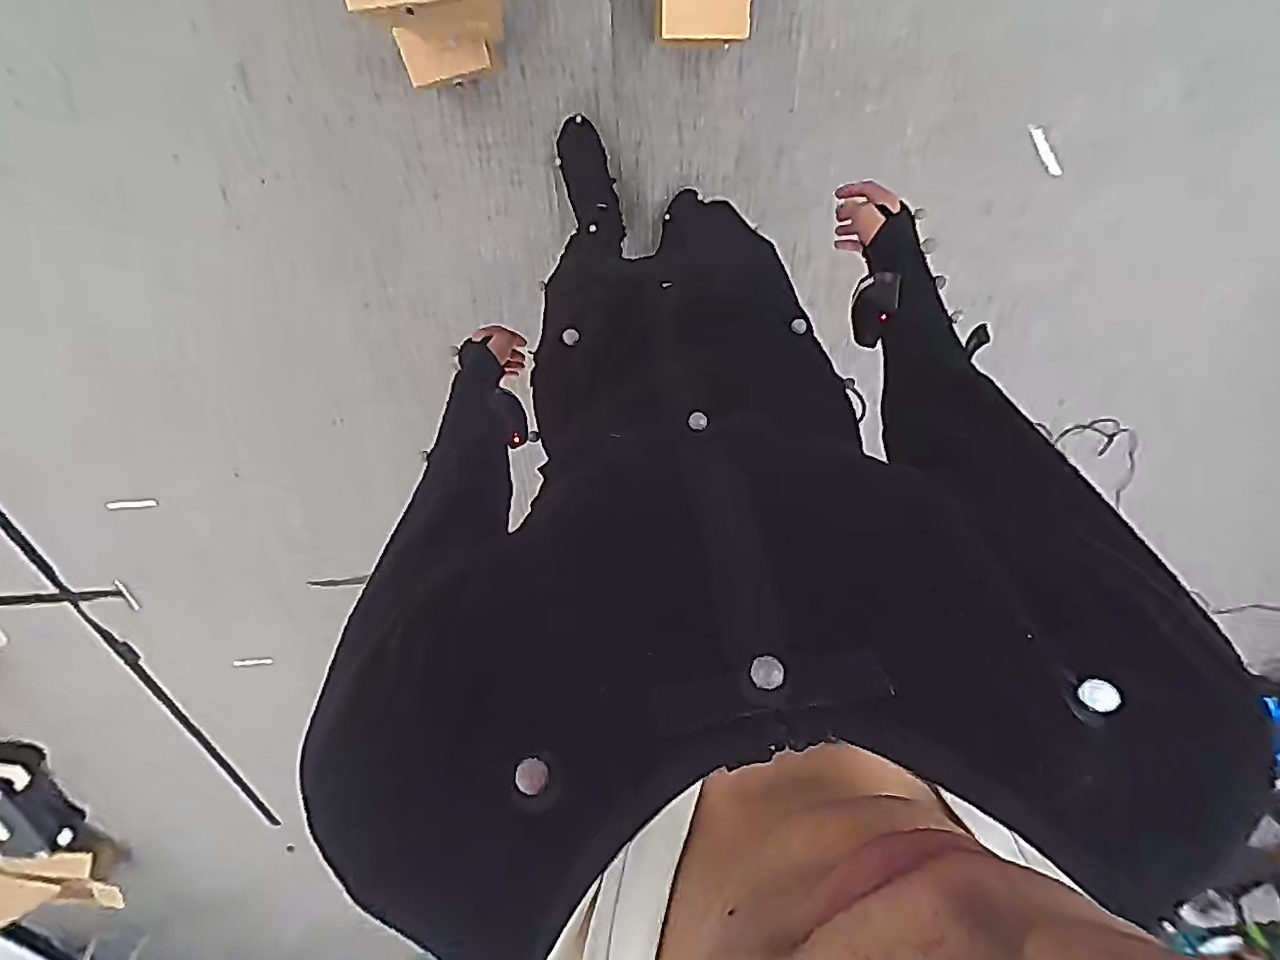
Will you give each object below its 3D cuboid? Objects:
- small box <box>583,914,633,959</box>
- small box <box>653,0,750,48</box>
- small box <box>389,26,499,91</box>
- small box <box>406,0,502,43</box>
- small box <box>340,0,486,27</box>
[{"bbox_3d":[-0.118,1.751,2.010,0.179,0.176,0.168,-6,125,0],"label":"small box"},{"bbox_3d":[0.118,-0.977,1.080,0.179,0.176,0.168,-4,124,-4],"label":"small box"},{"bbox_3d":[-0.397,-0.906,1.083,0.168,0.176,0.179,-13,124,4],"label":"small box"},{"bbox_3d":[-0.335,-0.868,0.917,0.168,0.176,0.179,0,124,-4],"label":"small box"},{"bbox_3d":[-0.340,-0.777,0.779,0.179,0.176,0.168,-6,123,0],"label":"small box"}]
